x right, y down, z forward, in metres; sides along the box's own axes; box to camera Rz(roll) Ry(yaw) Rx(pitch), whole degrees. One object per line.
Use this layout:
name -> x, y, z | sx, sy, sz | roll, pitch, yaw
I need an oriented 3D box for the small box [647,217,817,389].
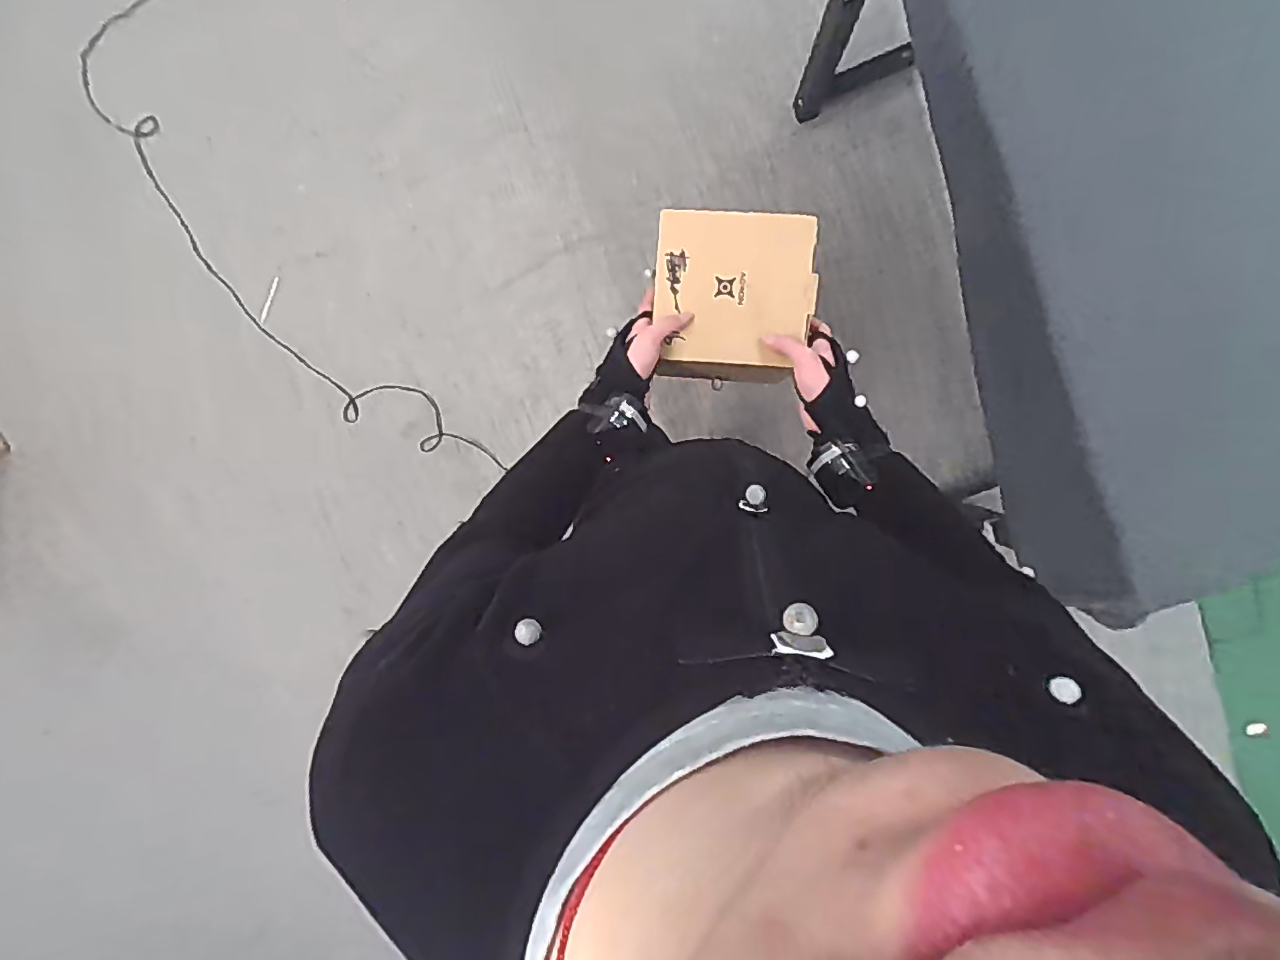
small box -> 0.104, -0.208, 0.676 | 0.179, 0.176, 0.168 | 4, 94, 3
